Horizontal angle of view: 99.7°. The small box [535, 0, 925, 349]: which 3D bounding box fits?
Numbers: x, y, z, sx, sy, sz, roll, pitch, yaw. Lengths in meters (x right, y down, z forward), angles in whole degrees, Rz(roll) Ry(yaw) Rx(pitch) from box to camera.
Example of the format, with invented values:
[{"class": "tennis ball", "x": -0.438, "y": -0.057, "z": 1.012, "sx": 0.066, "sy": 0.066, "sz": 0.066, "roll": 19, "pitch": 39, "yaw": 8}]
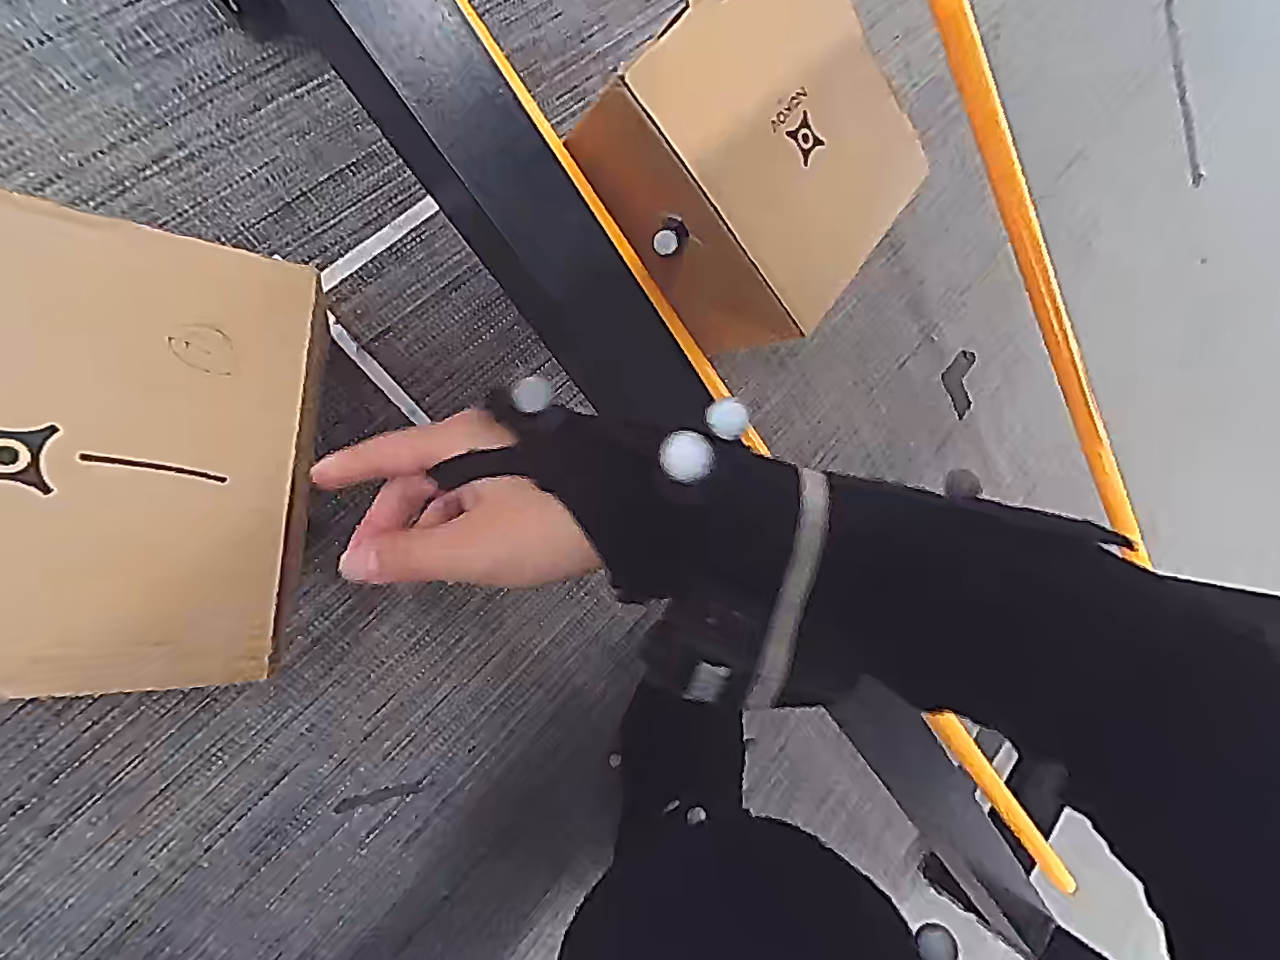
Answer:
[{"class": "small box", "x": 0.057, "y": -0.212, "z": 0.390, "sx": 0.179, "sy": 0.176, "sz": 0.168, "roll": 45, "pitch": 74, "yaw": -24}]
